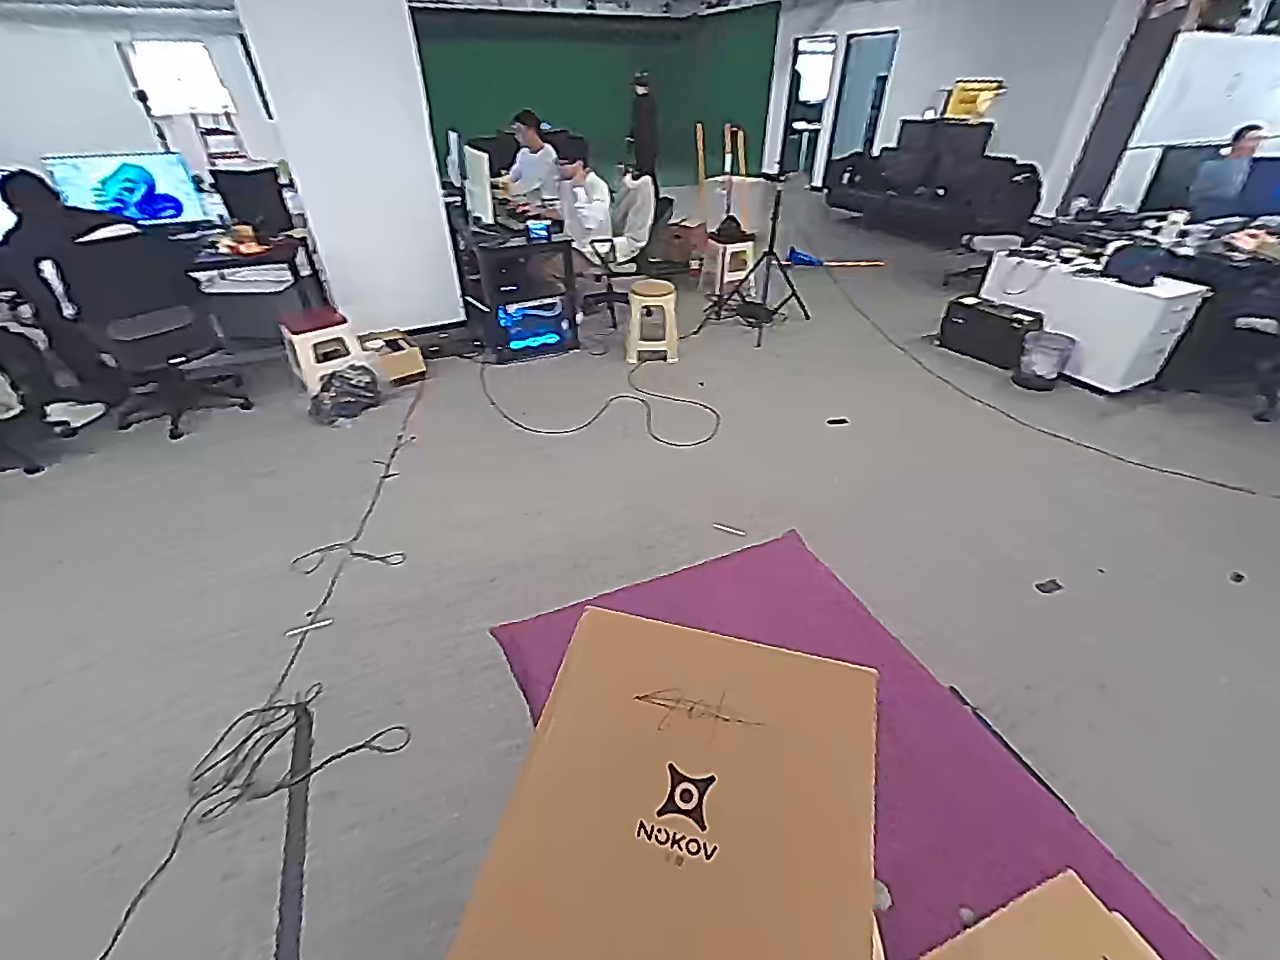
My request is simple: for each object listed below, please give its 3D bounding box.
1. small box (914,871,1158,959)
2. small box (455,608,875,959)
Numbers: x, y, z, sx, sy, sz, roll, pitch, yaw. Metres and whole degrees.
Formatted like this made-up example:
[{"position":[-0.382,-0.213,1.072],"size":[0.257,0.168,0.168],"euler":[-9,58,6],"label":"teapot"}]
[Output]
[{"position":[0.275,0.418,0.369],"size":[0.179,0.176,0.168],"euler":[-13,38,-16],"label":"small box"},{"position":[0.029,0.204,0.309],"size":[0.168,0.176,0.179],"euler":[8,48,13],"label":"small box"}]
